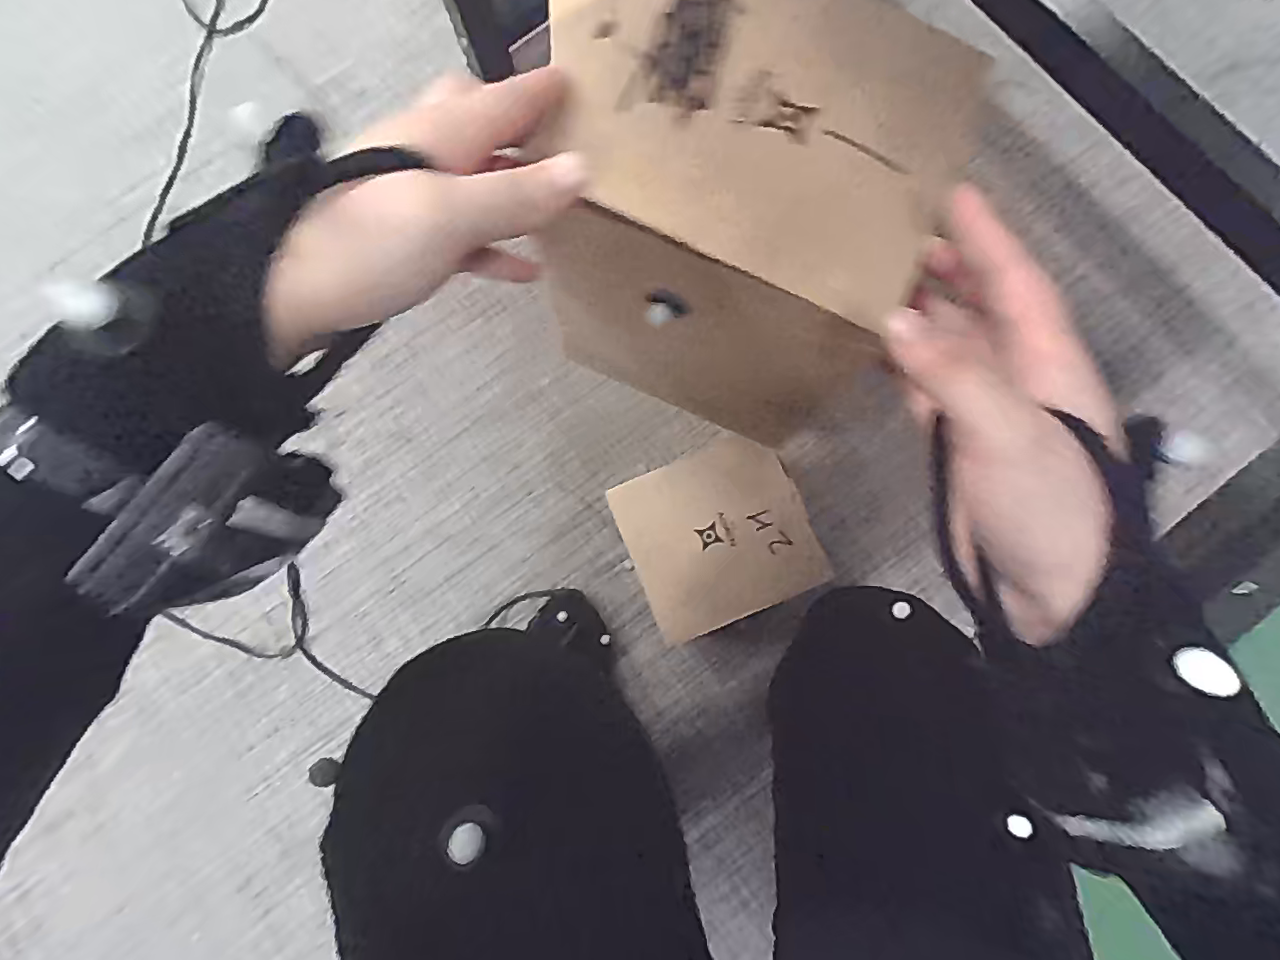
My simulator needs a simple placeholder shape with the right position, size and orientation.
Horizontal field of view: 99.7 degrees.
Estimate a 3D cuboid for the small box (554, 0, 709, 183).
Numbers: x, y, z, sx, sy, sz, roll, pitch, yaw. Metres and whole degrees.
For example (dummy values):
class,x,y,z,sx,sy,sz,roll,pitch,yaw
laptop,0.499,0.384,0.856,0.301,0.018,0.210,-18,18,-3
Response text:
class,x,y,z,sx,sy,sz,roll,pitch,yaw
small box,-0.007,-0.515,0.701,0.179,0.176,0.168,-4,80,2
